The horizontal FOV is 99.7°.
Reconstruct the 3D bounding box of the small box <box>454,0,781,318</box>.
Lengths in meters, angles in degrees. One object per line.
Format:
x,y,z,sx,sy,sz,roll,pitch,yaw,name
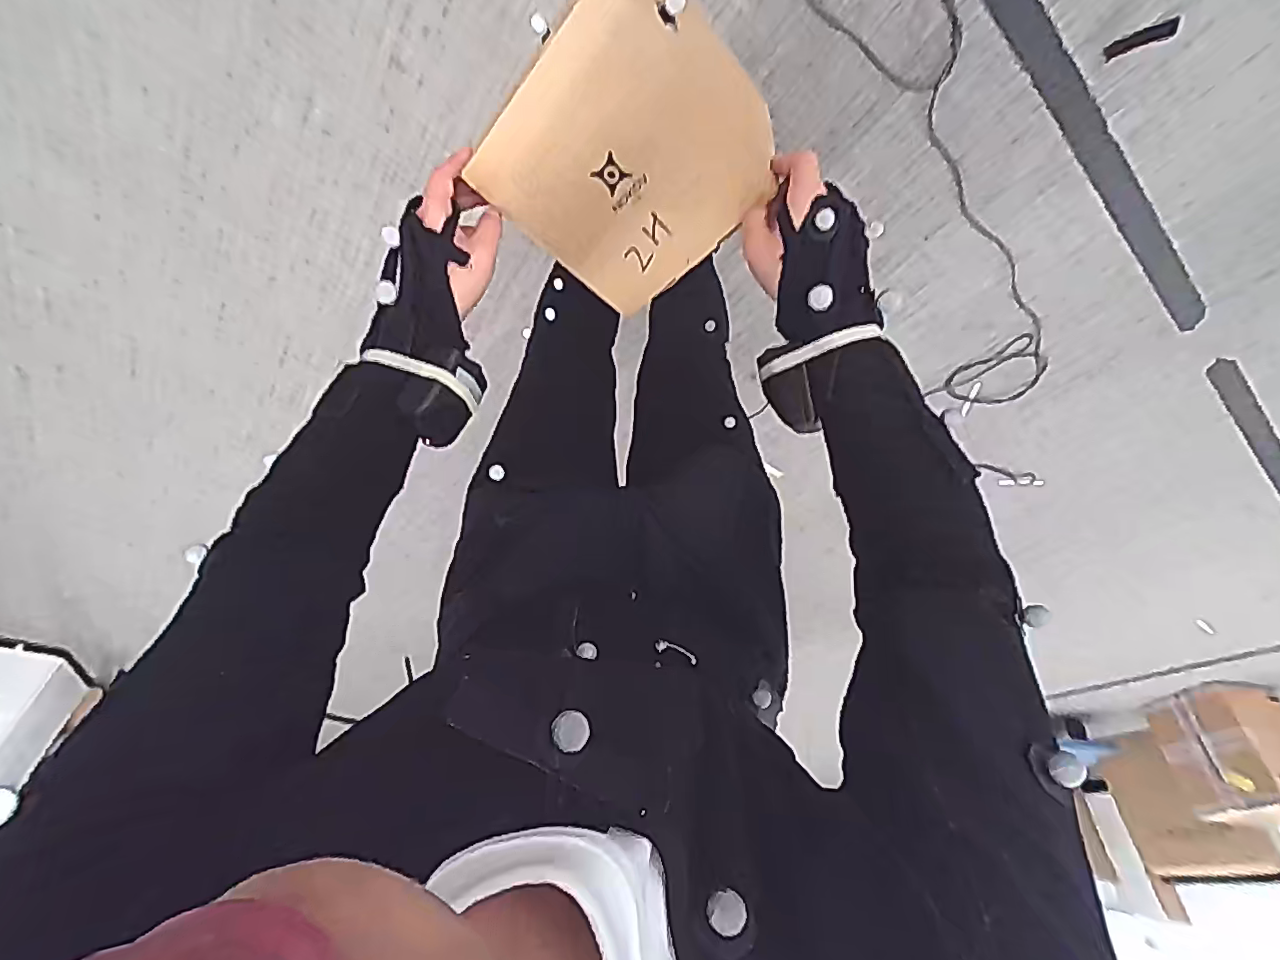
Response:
-0.011,-0.275,0.430,0.168,0.176,0.179,-28,132,37,small box

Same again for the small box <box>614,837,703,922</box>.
0.046,1.050,1.421,0.168,0.176,0.179,25,136,-24,small box
